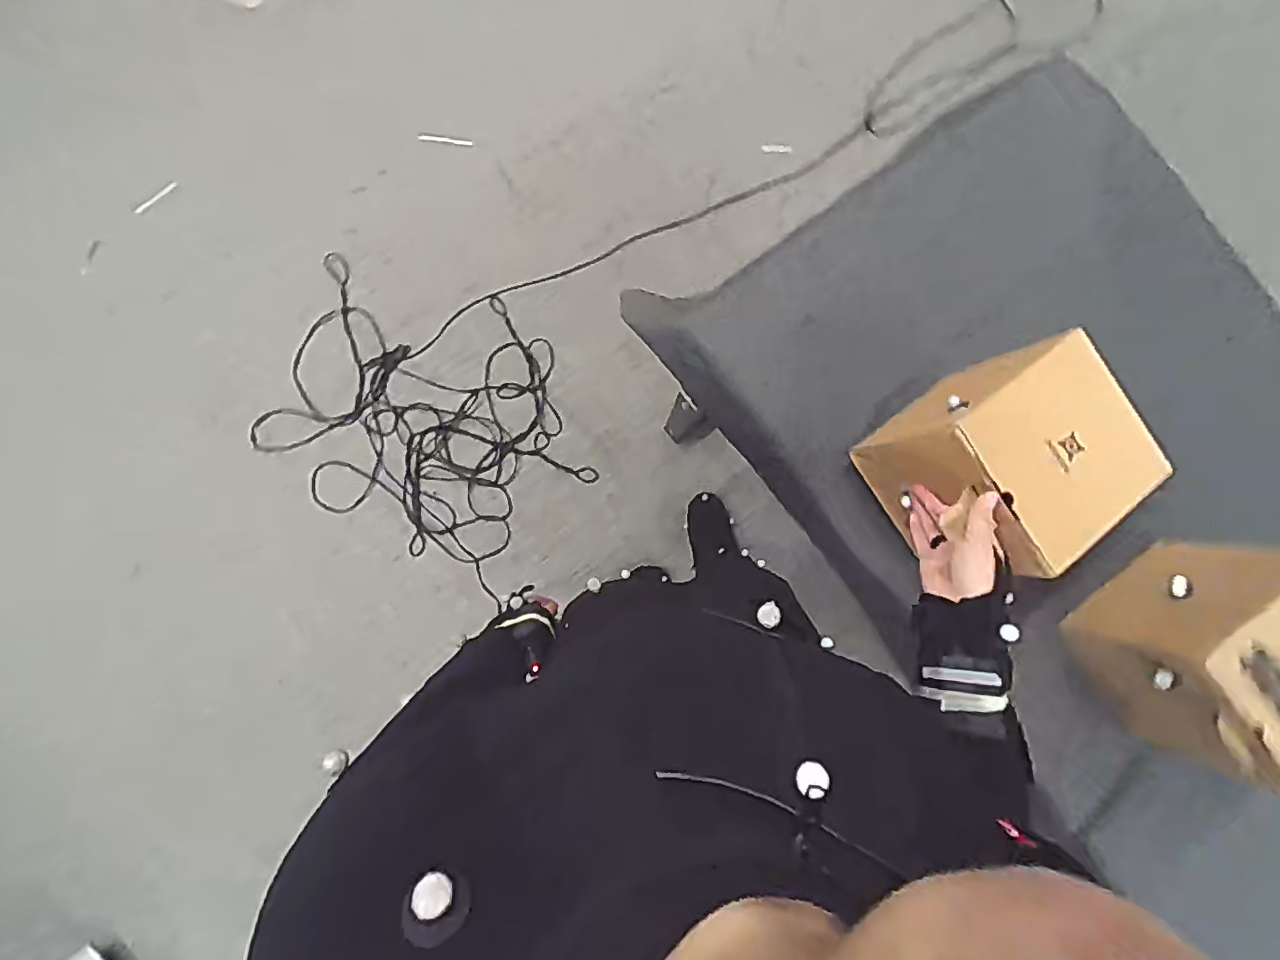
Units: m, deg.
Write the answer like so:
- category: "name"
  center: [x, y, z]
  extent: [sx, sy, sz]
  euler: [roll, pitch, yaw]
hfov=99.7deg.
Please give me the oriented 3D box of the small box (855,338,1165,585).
- category: "small box"
  center: [0.370, -0.016, 0.568]
  extent: [0.179, 0.176, 0.168]
  euler: [-35, 94, -12]
